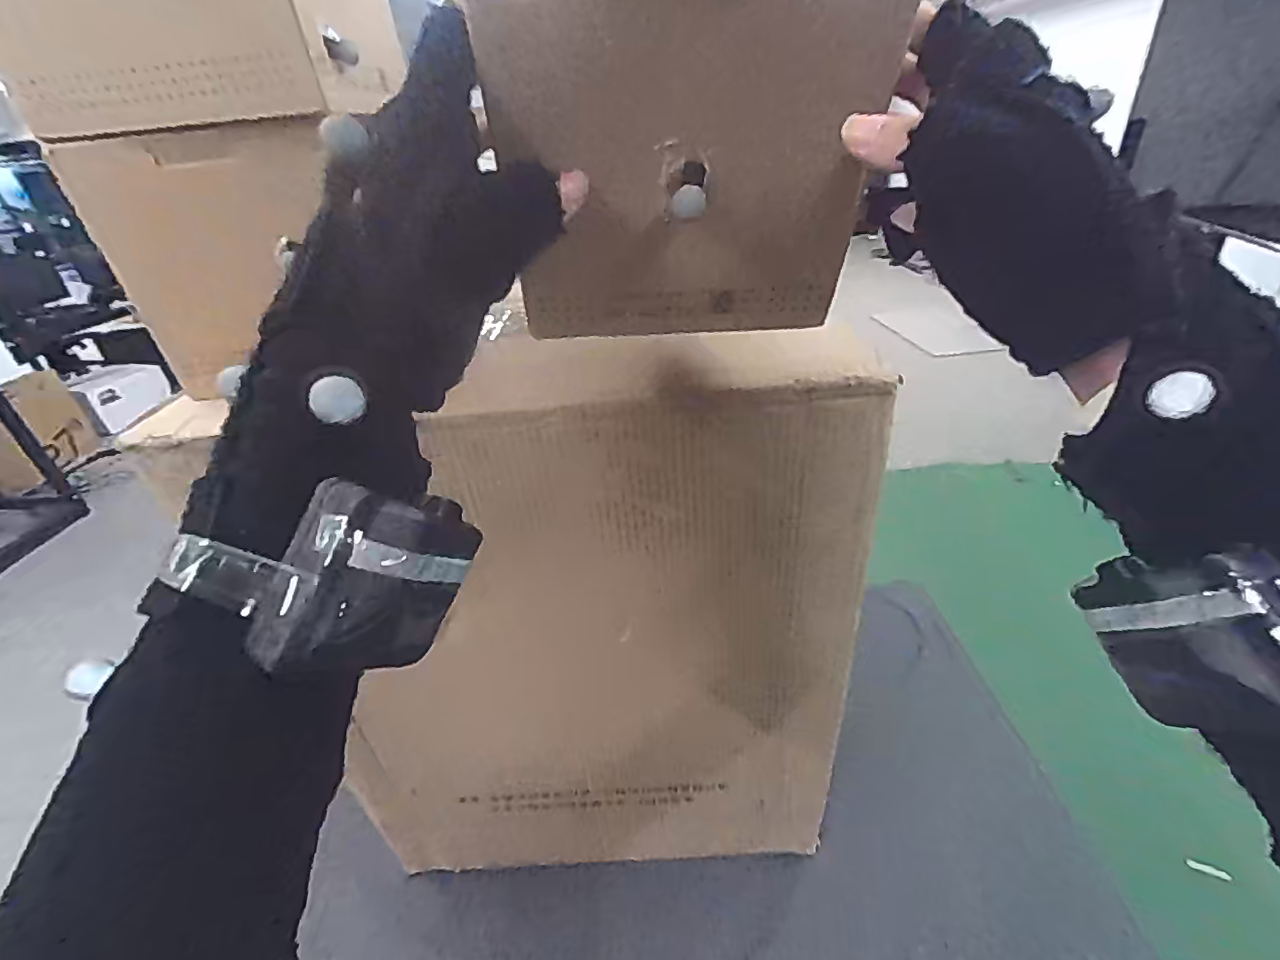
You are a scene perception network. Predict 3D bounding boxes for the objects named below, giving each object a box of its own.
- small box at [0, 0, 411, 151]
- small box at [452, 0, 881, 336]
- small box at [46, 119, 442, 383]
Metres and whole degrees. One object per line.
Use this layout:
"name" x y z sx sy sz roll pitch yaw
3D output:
"small box" -0.274 -0.305 0.343 0.179 0.176 0.168 -6 34 2
"small box" 0.014 -0.196 0.306 0.168 0.176 0.179 -3 51 0
"small box" -0.272 -0.187 0.433 0.168 0.176 0.179 -11 35 -5
